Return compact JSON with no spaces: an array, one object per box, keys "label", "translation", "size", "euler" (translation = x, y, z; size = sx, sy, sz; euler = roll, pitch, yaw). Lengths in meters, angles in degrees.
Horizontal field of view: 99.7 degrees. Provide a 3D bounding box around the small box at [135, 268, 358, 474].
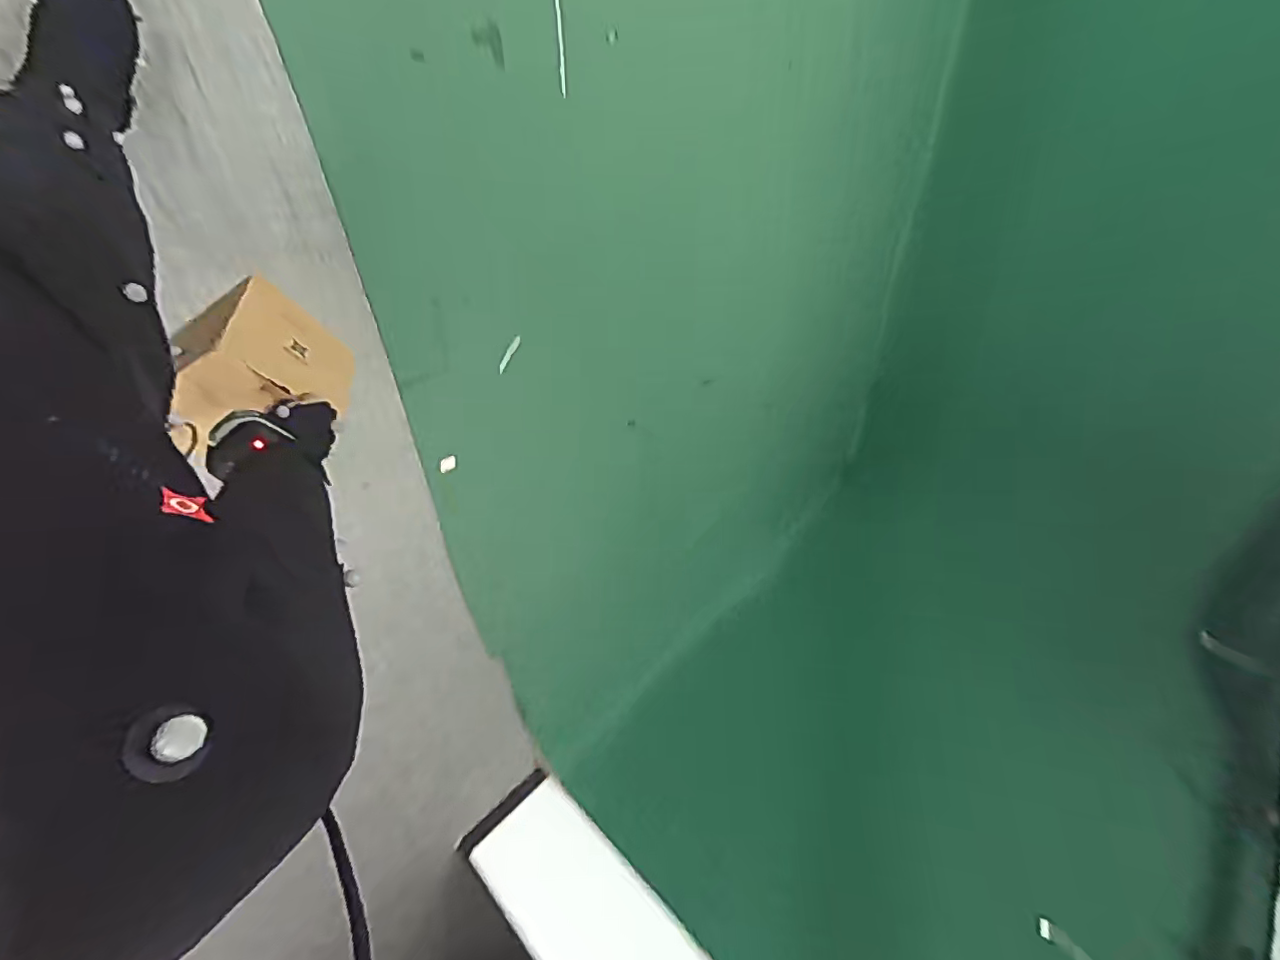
[{"label":"small box","translation":[-0.518,-0.138,0.728],"size":[0.176,0.179,0.168],"euler":[-28,140,13]}]
